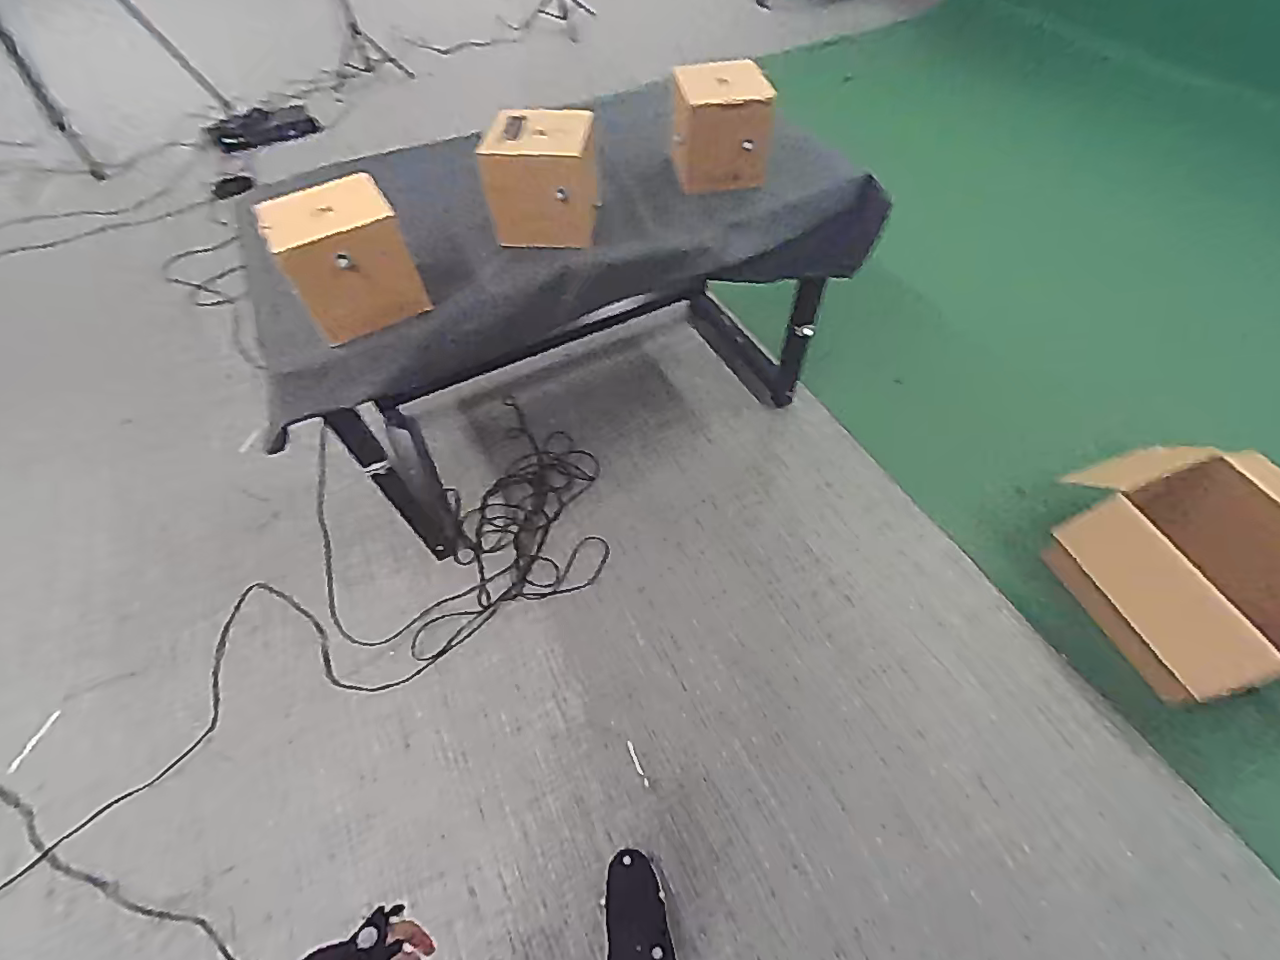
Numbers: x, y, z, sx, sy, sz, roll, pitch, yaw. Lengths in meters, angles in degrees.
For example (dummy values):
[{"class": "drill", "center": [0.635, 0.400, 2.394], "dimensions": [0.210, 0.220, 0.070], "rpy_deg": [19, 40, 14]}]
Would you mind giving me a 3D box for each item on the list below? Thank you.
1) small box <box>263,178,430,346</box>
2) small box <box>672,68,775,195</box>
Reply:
[{"class": "small box", "center": [-0.464, -0.352, 0.880], "dimensions": [0.179, 0.176, 0.168], "rpy_deg": [-28, 56, -15]}, {"class": "small box", "center": [0.160, -0.700, 1.098], "dimensions": [0.168, 0.176, 0.179], "rpy_deg": [-8, 54, -4]}]
